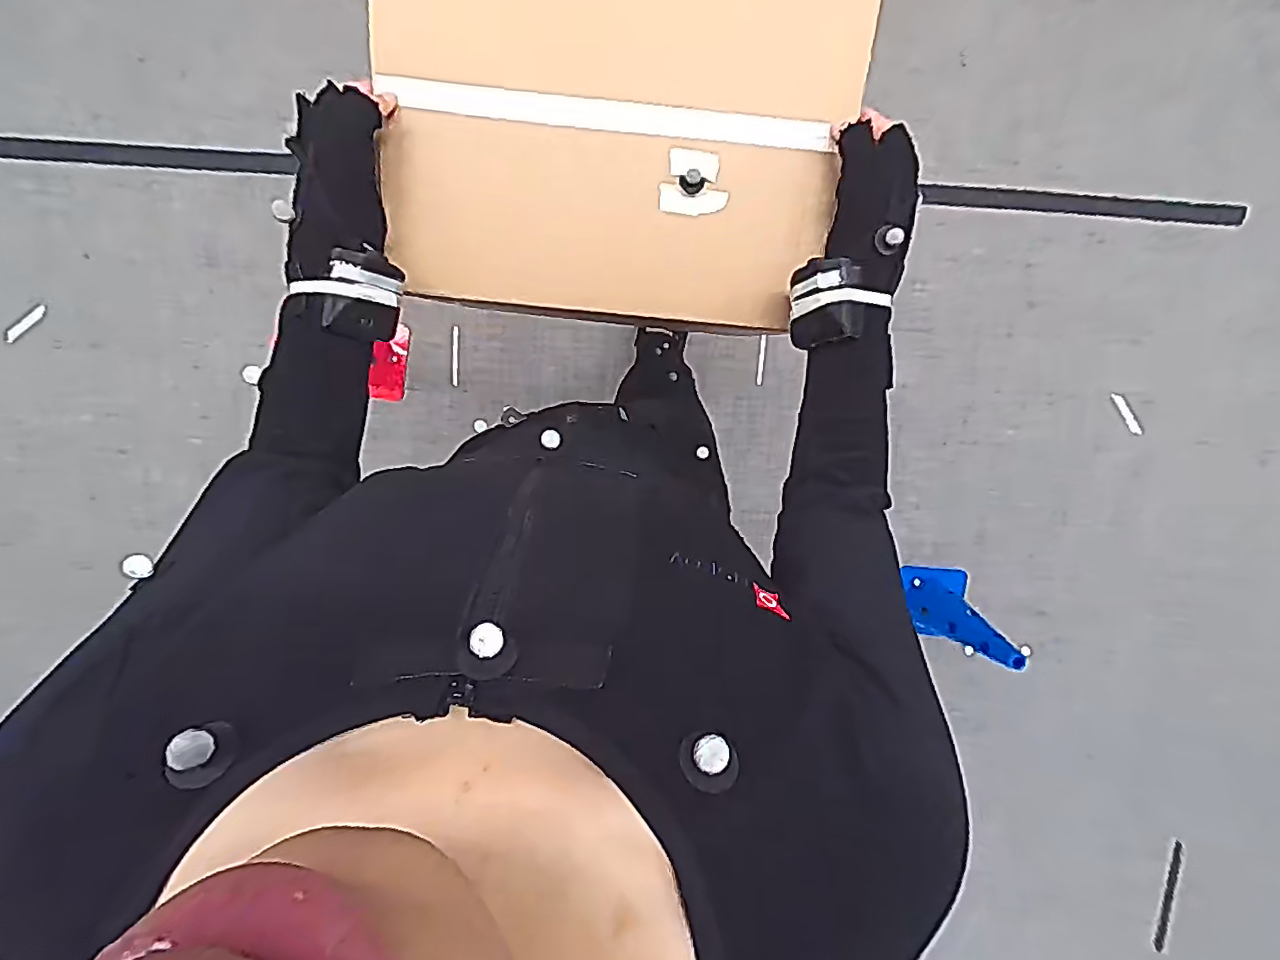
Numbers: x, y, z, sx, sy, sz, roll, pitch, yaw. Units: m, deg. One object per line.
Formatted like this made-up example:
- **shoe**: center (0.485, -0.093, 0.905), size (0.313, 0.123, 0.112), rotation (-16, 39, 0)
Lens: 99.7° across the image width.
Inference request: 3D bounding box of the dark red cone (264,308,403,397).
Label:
- **dark red cone**: center (-0.696, -0.297, 1.202), size (0.201, 0.394, 0.202), rotation (9, 99, -4)

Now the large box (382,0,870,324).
- **large box**: center (-0.022, -0.353, 0.600), size (0.408, 0.320, 0.320), rotation (5, 105, -3)

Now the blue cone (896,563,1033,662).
- **blue cone**: center (0.832, 0.355, 1.371), size (0.192, 0.380, 0.193), rotation (6, 99, -3)
